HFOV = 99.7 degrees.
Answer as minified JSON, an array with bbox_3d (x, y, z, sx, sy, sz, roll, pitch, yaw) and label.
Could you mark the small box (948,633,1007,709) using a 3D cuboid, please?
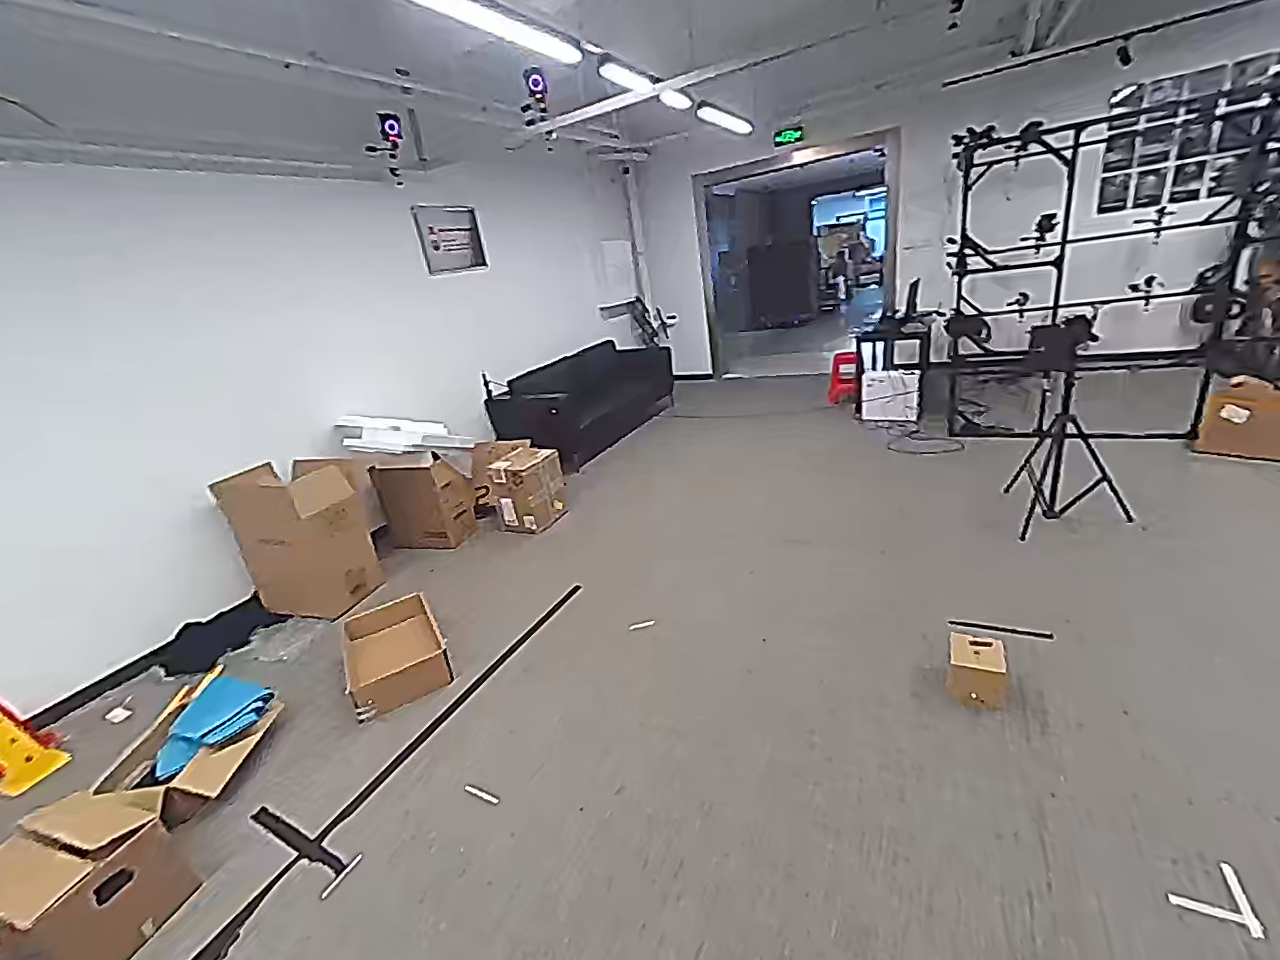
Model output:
[{"bbox_3d":[1.211,0.686,1.948,0.168,0.176,0.179,2,25,29],"label":"small box"}]
